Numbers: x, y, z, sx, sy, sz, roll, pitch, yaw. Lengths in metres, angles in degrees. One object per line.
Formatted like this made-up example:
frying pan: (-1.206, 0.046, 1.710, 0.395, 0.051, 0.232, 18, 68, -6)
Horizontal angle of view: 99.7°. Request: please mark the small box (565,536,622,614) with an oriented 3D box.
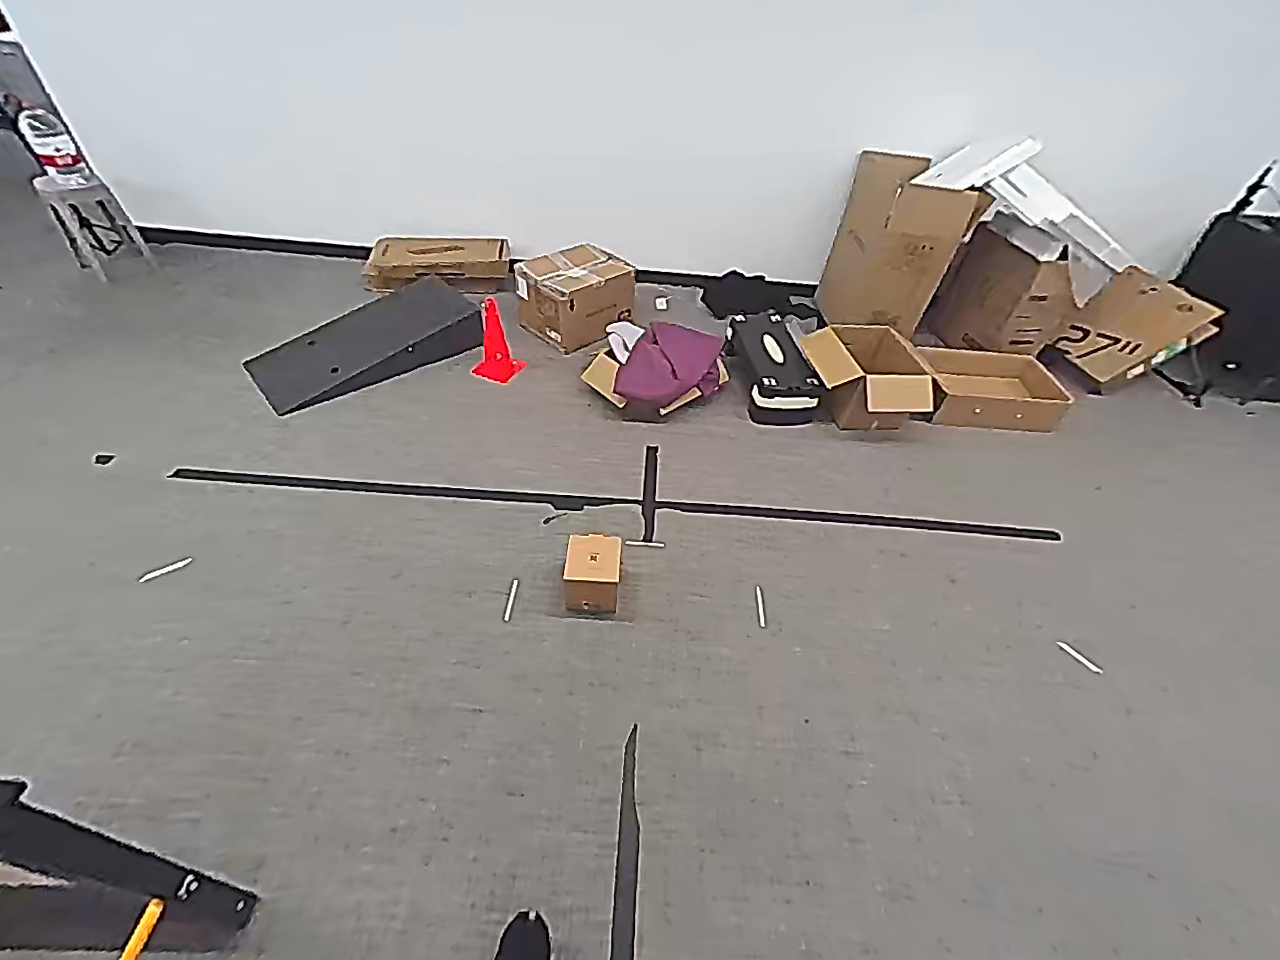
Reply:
small box: (-0.144, 0.300, 1.702, 0.168, 0.176, 0.179, 3, 45, -2)
